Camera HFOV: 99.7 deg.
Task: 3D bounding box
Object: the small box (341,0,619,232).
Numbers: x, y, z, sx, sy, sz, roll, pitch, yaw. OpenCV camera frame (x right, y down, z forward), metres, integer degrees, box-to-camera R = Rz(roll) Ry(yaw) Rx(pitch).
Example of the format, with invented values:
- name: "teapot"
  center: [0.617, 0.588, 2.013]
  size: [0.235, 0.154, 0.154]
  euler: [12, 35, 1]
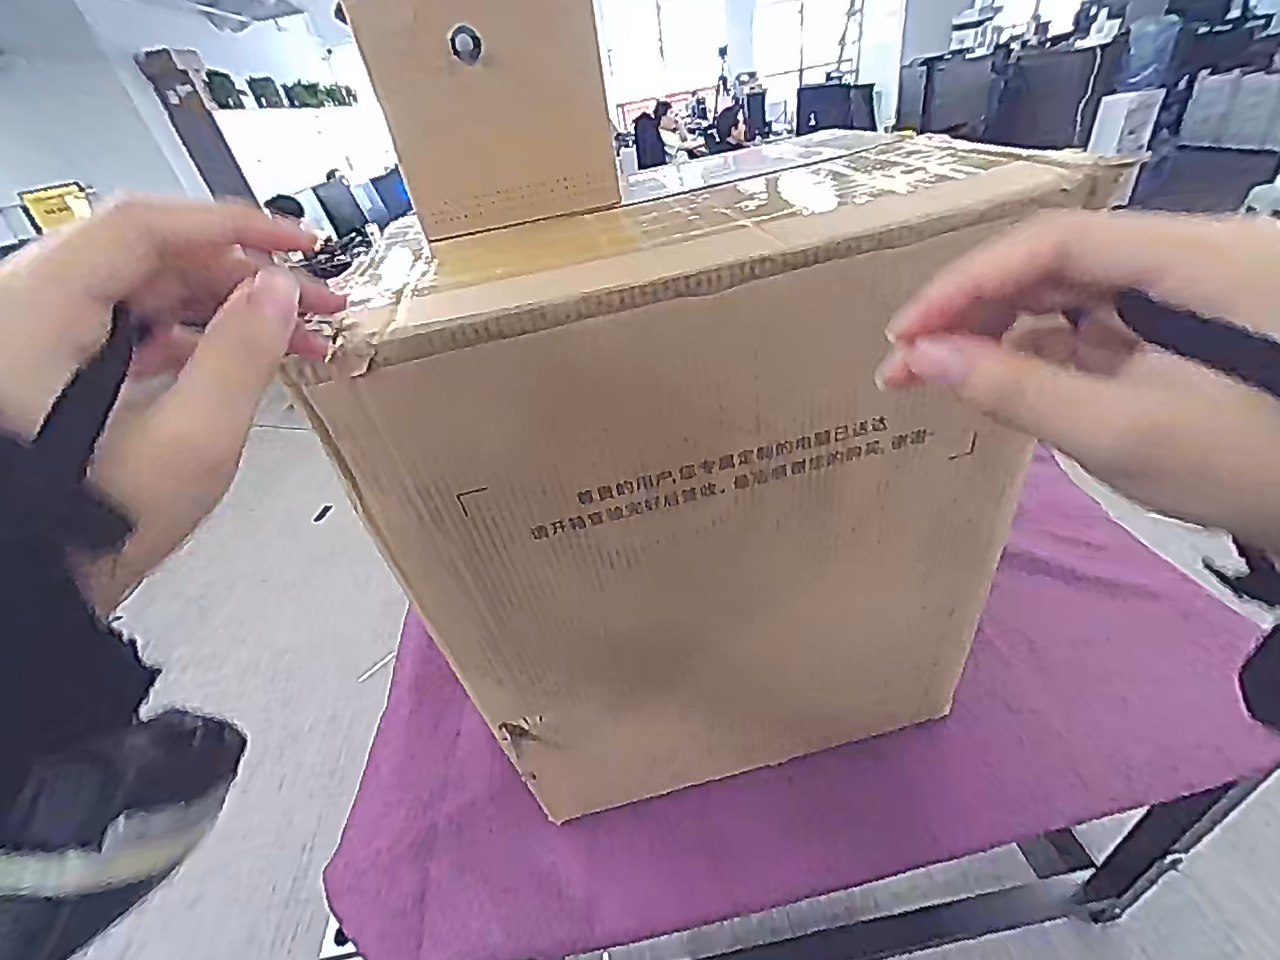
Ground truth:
- name: "small box"
  center: [-0.128, -0.334, 0.483]
  size: [0.179, 0.176, 0.168]
  euler: [-14, 36, -6]
